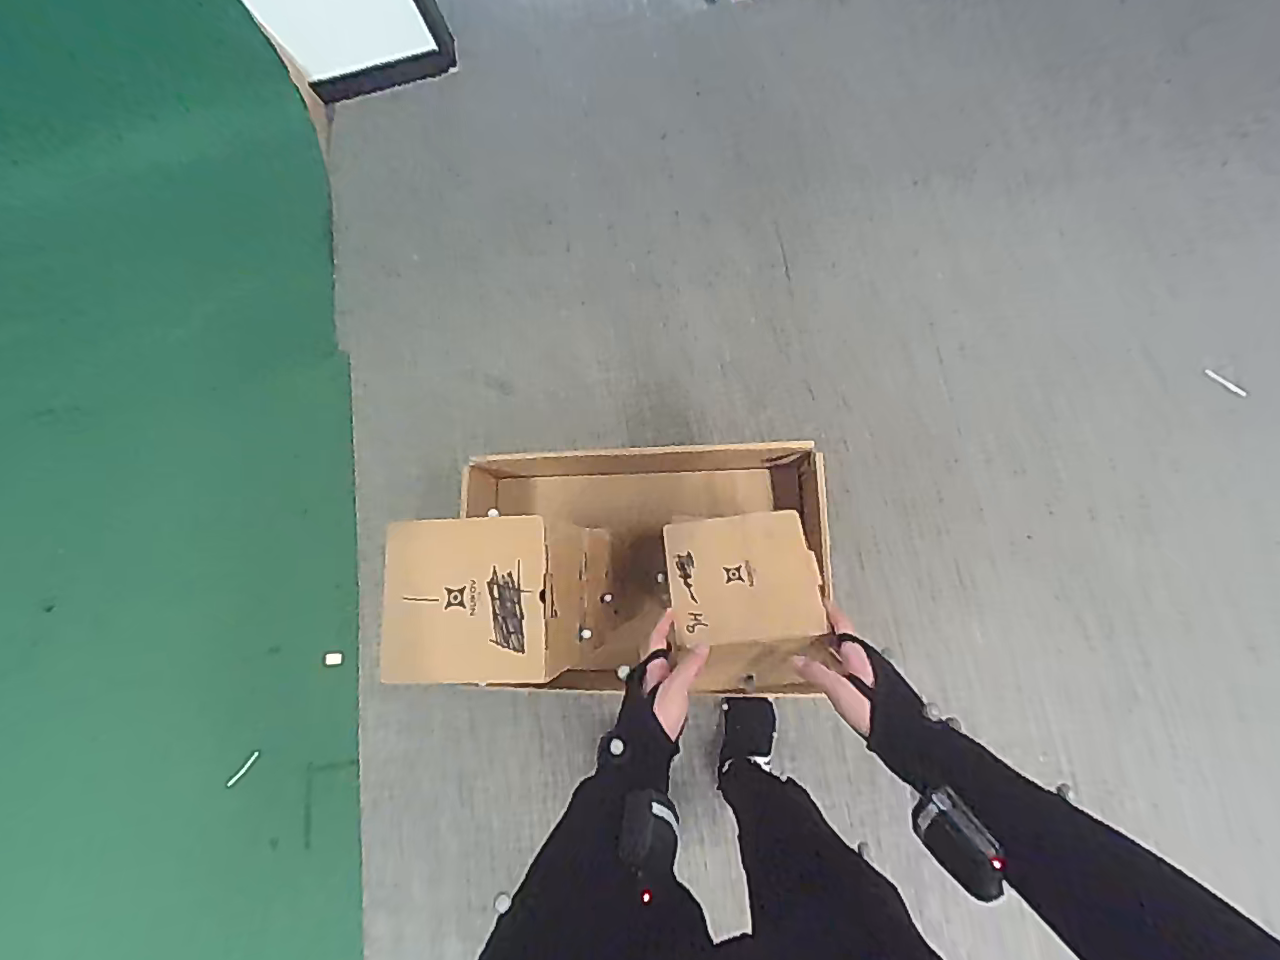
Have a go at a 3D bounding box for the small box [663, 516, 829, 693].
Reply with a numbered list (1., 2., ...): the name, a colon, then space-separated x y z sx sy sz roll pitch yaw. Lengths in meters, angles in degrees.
1. small box: 0.128 0.167 0.710 0.179 0.176 0.168 -7 51 3

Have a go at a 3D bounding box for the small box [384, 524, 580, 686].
1. small box: -0.170 0.140 0.638 0.179 0.176 0.168 -4 80 8
